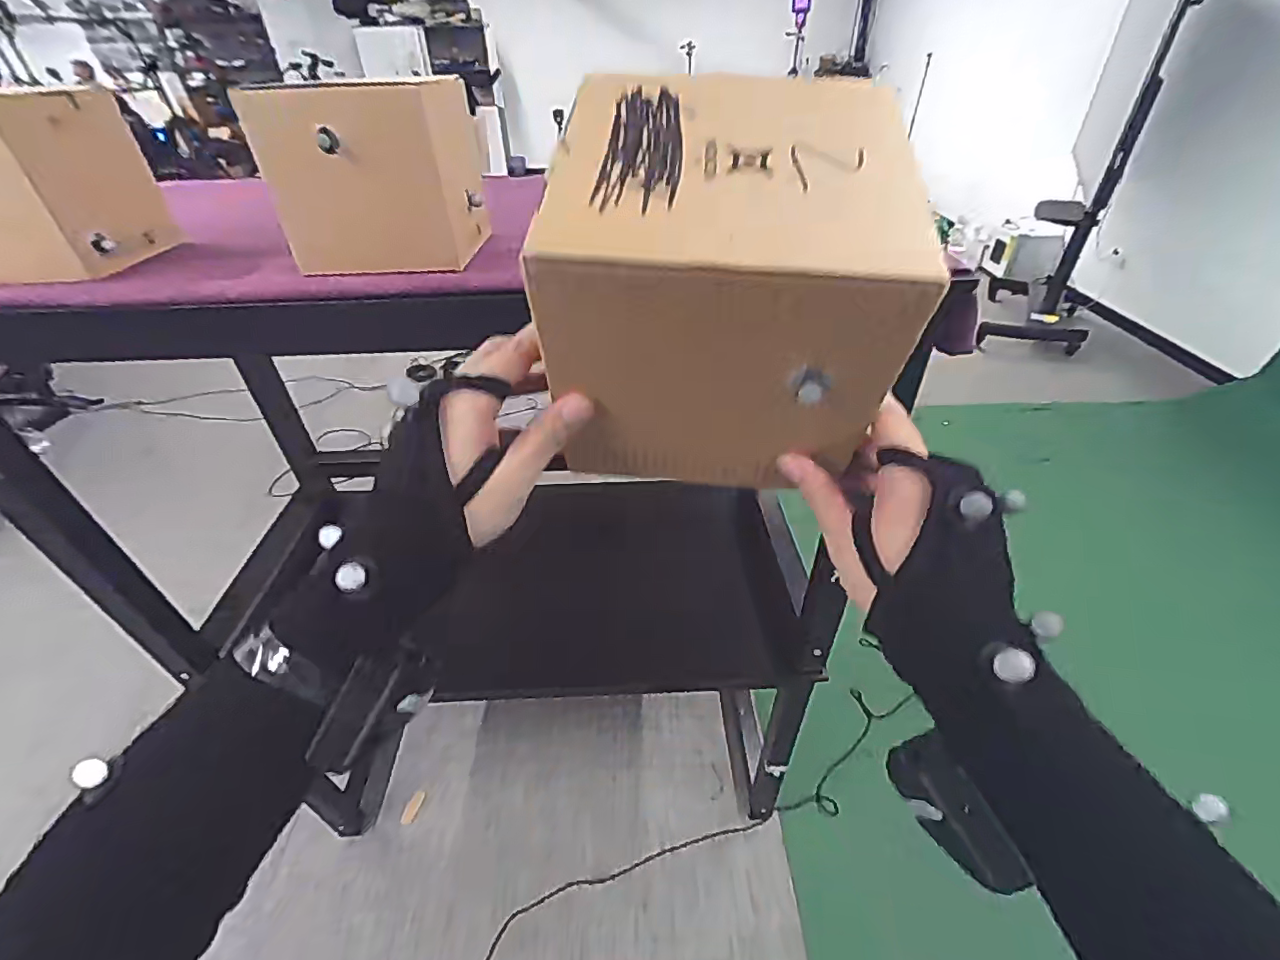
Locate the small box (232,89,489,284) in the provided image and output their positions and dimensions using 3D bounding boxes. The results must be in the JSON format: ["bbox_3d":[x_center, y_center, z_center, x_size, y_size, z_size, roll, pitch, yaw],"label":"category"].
[{"bbox_3d":[-0.287,-0.328,0.605,0.179,0.176,0.168,-2,38,1],"label":"small box"}]

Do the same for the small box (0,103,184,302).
[{"bbox_3d":[-0.679,-0.310,0.605,0.179,0.176,0.168,-4,38,-1],"label":"small box"}]
